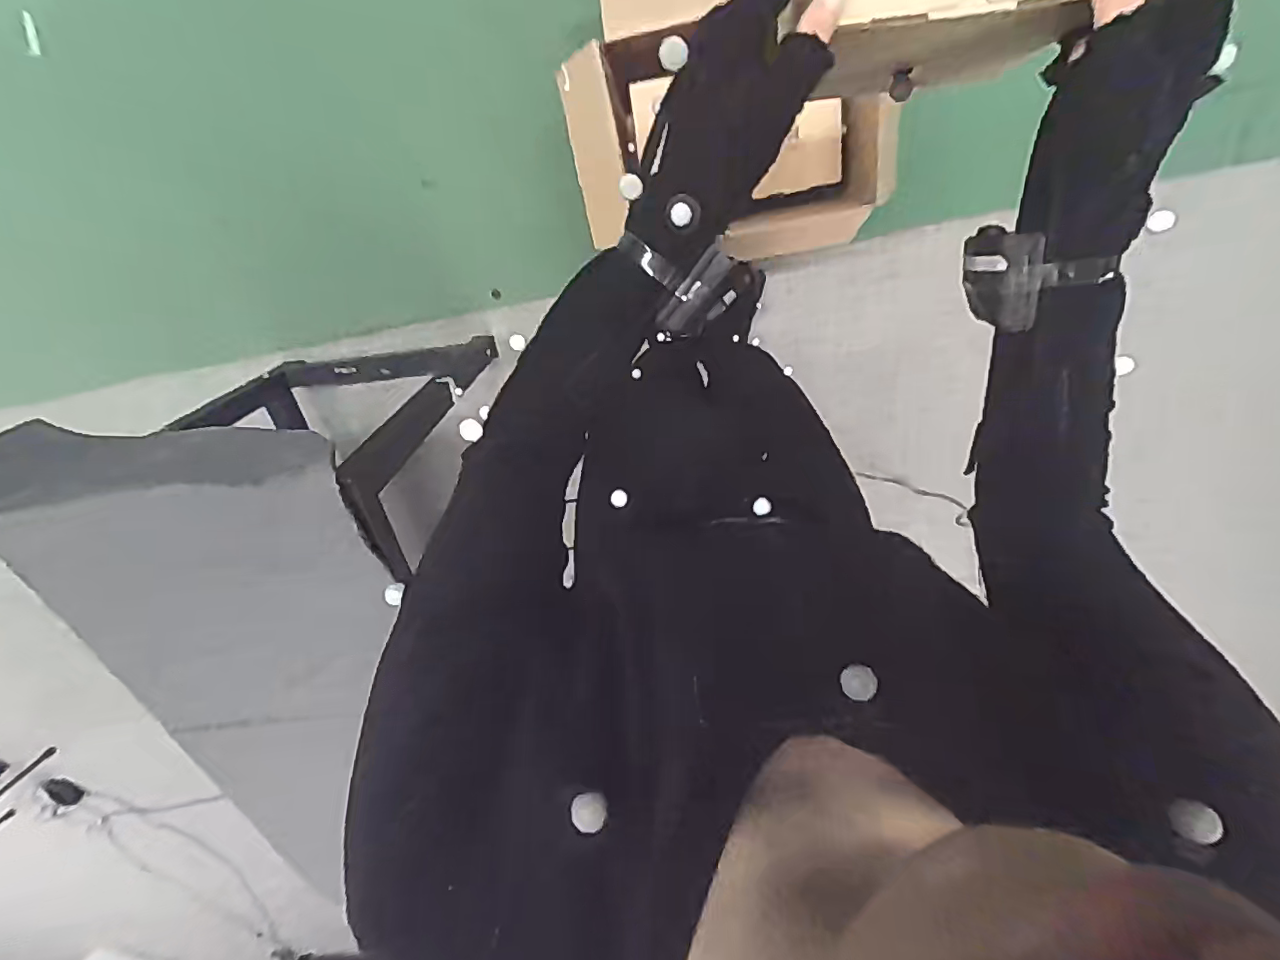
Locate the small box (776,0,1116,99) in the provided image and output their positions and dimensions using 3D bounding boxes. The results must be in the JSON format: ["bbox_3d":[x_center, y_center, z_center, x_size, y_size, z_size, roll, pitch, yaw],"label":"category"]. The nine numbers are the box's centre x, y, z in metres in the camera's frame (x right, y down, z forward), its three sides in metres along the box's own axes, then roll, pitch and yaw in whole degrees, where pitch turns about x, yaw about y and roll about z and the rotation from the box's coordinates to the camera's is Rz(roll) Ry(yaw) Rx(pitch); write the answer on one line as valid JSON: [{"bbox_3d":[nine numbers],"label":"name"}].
[{"bbox_3d":[0.174,-0.355,0.317,0.168,0.176,0.179,-1,114,8],"label":"small box"}]
